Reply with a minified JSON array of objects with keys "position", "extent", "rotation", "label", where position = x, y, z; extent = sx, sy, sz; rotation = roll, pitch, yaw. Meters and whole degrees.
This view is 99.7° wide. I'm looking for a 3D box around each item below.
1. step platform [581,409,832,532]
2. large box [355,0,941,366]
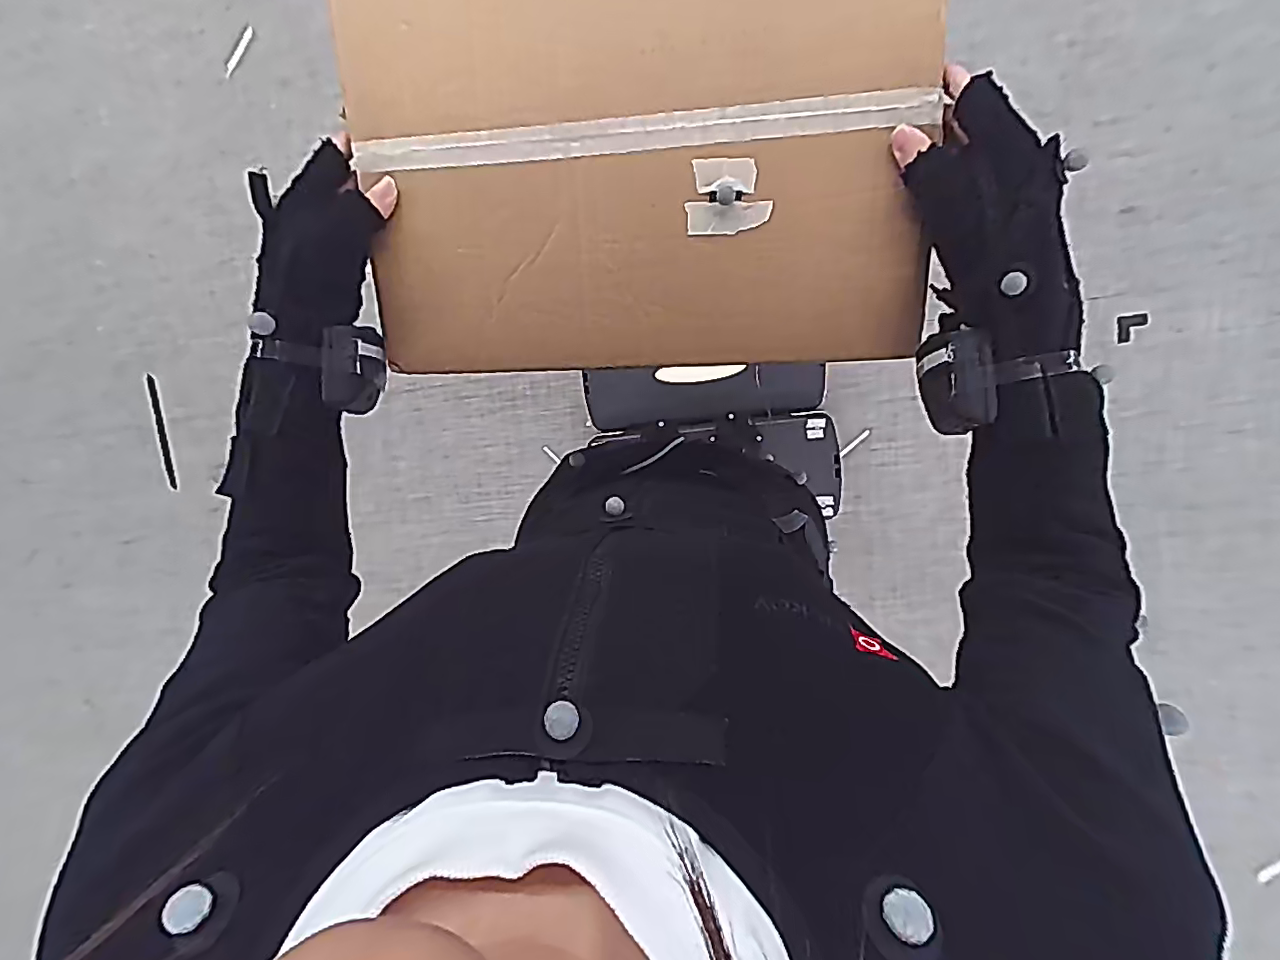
[{"position":[0.178,-0.022,1.520],"extent":[0.684,0.204,0.286],"rotation":[-6,96,11],"label":"step platform"},{"position":[0.014,-0.285,0.526],"extent":[0.408,0.320,0.320],"rotation":[-1,106,7],"label":"large box"}]
